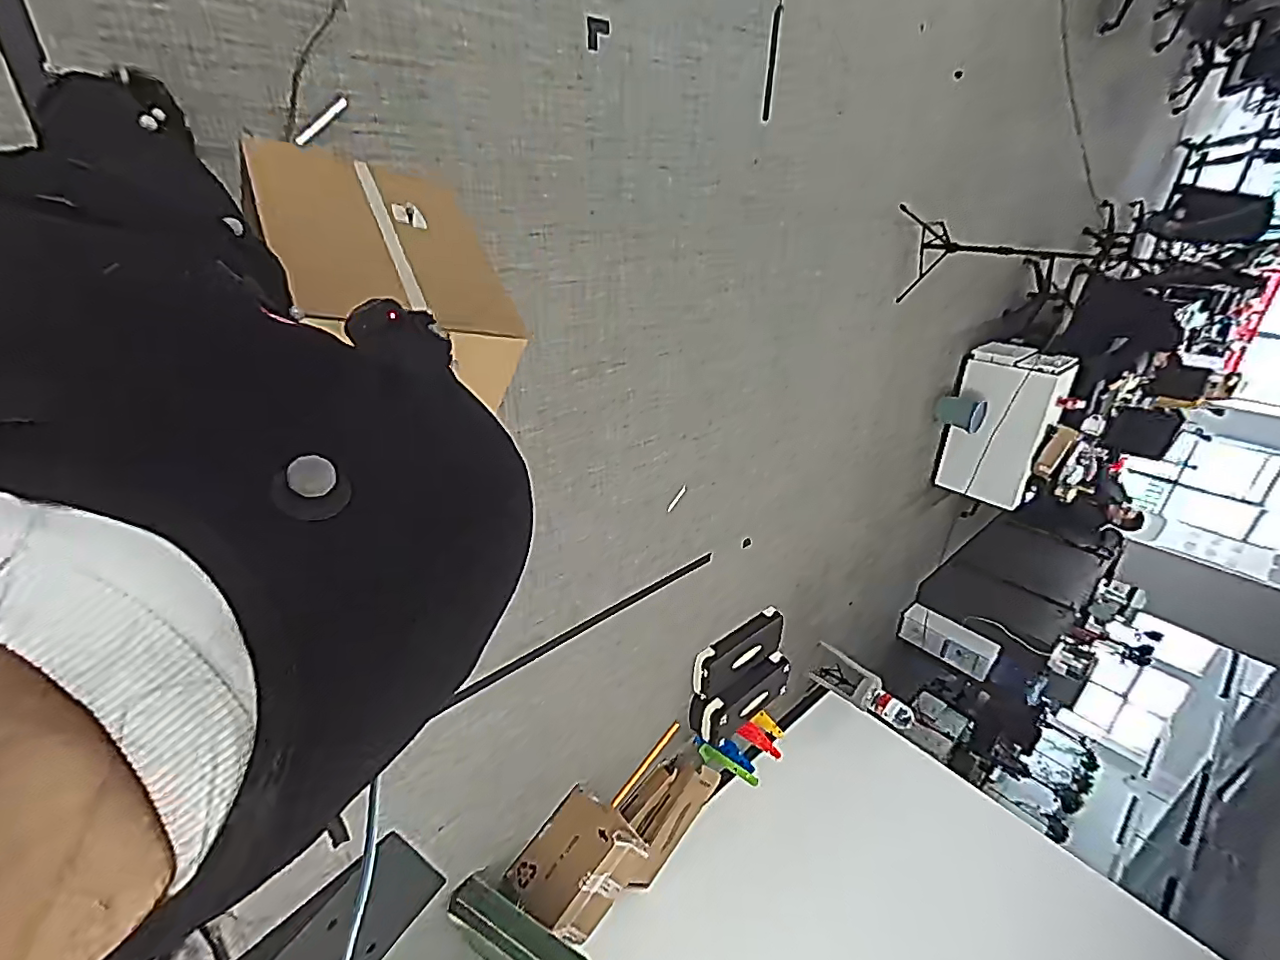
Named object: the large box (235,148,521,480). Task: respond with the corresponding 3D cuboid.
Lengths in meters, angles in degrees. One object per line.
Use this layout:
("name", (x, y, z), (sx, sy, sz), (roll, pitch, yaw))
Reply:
("large box", (-0.455, -0.256, 0.900), (0.320, 0.408, 0.320), (-6, 144, -42))
